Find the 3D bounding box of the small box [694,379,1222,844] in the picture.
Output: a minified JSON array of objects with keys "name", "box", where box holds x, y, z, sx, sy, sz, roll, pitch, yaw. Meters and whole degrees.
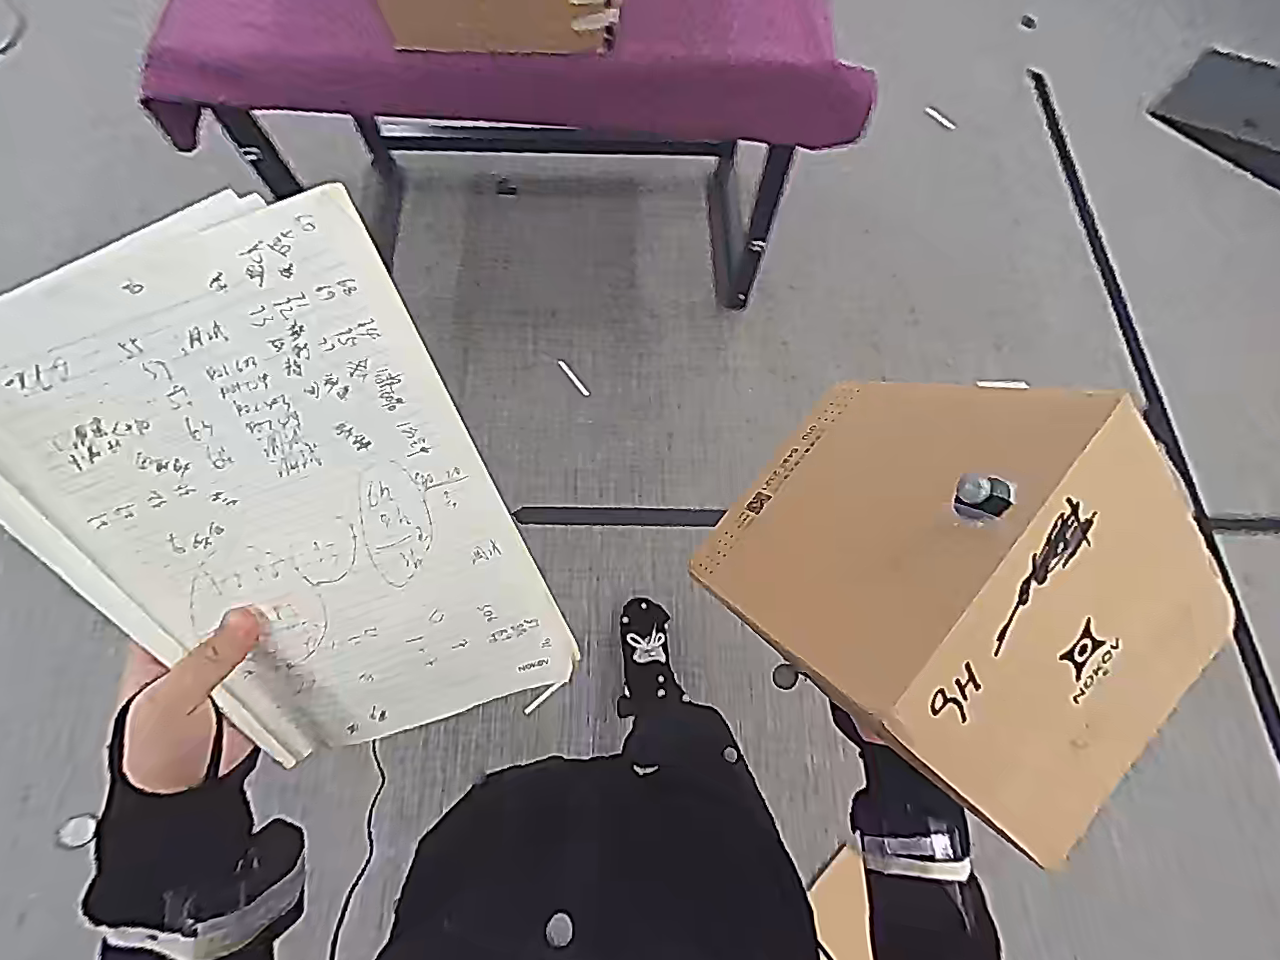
[{"name":"small box","box":[0.167,0.054,0.315,0.179,0.176,0.168,41,84,-25]}]
